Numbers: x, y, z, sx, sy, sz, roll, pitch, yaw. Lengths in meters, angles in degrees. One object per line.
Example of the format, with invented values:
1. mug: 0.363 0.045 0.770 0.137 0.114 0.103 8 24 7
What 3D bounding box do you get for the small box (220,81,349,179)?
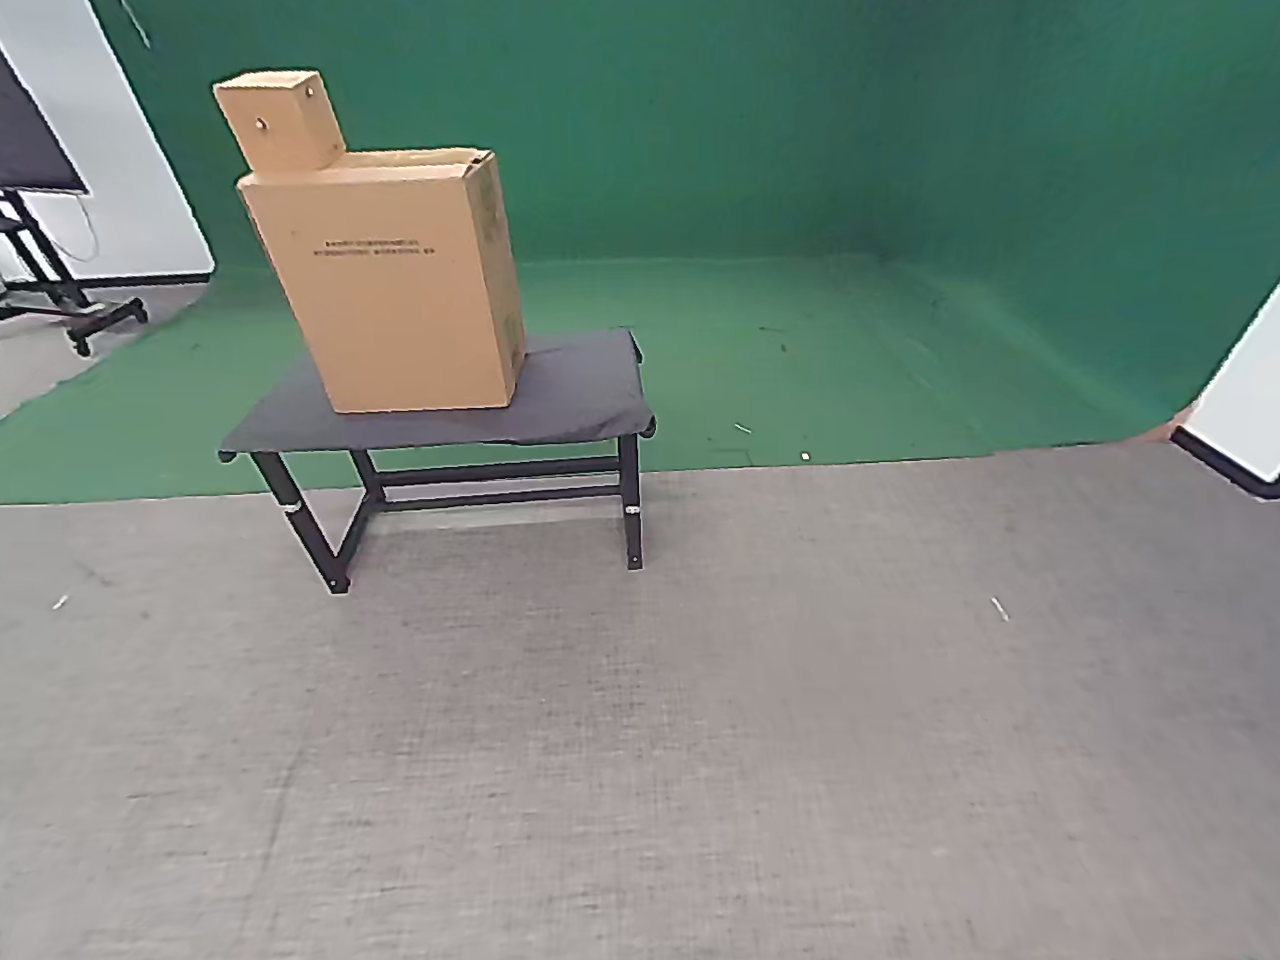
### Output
1. small box: -0.850 -0.847 1.312 0.179 0.176 0.168 -2 46 0
